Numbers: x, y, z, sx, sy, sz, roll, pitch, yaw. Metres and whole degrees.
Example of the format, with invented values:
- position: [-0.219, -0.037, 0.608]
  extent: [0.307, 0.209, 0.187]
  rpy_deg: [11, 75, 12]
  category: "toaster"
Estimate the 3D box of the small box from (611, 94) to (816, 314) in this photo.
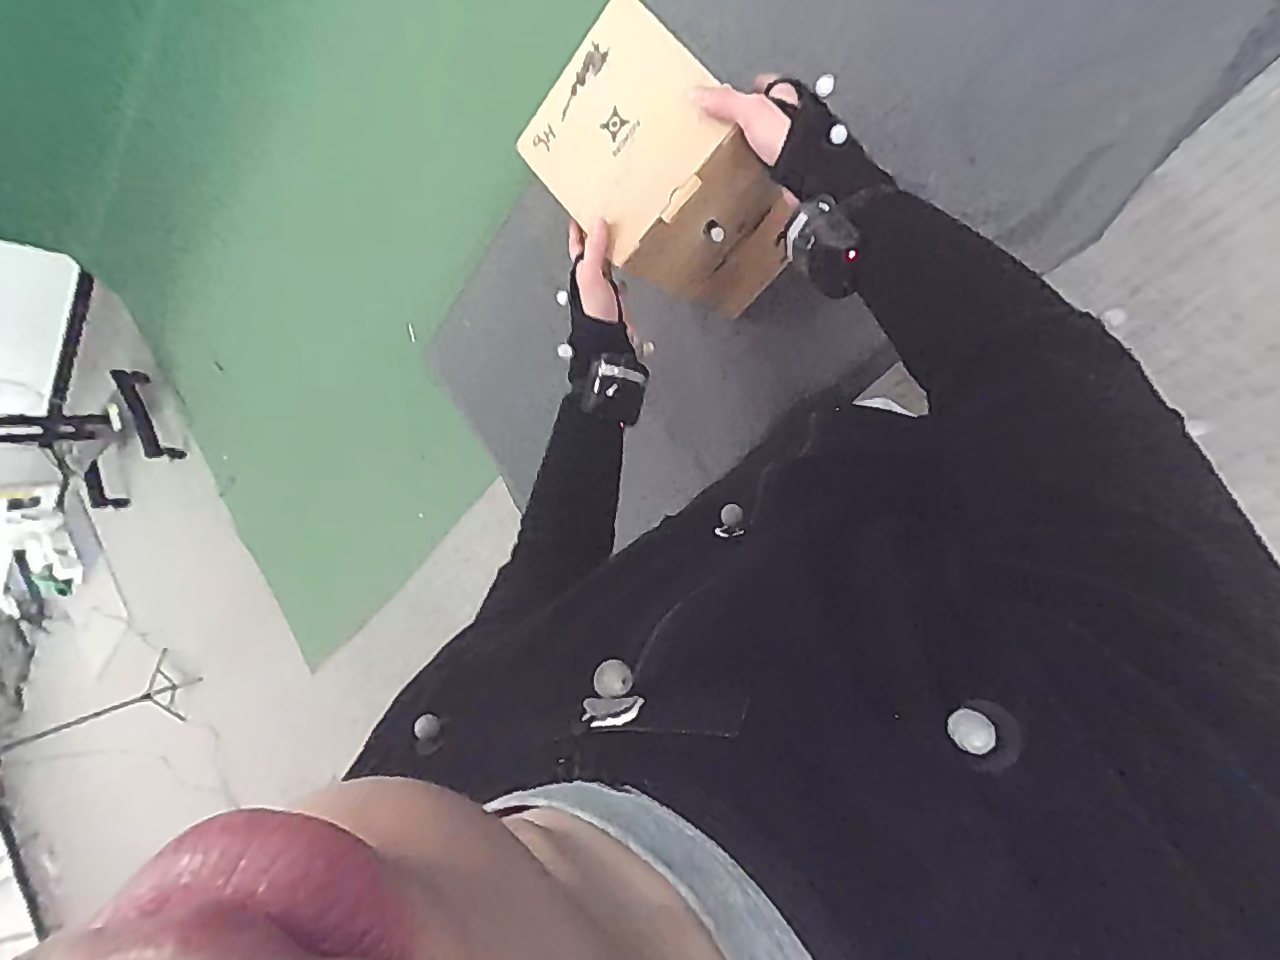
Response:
- position: [0.103, -0.337, 0.703]
  extent: [0.168, 0.176, 0.179]
  rpy_deg: [-44, 74, 25]
  category: "small box"
